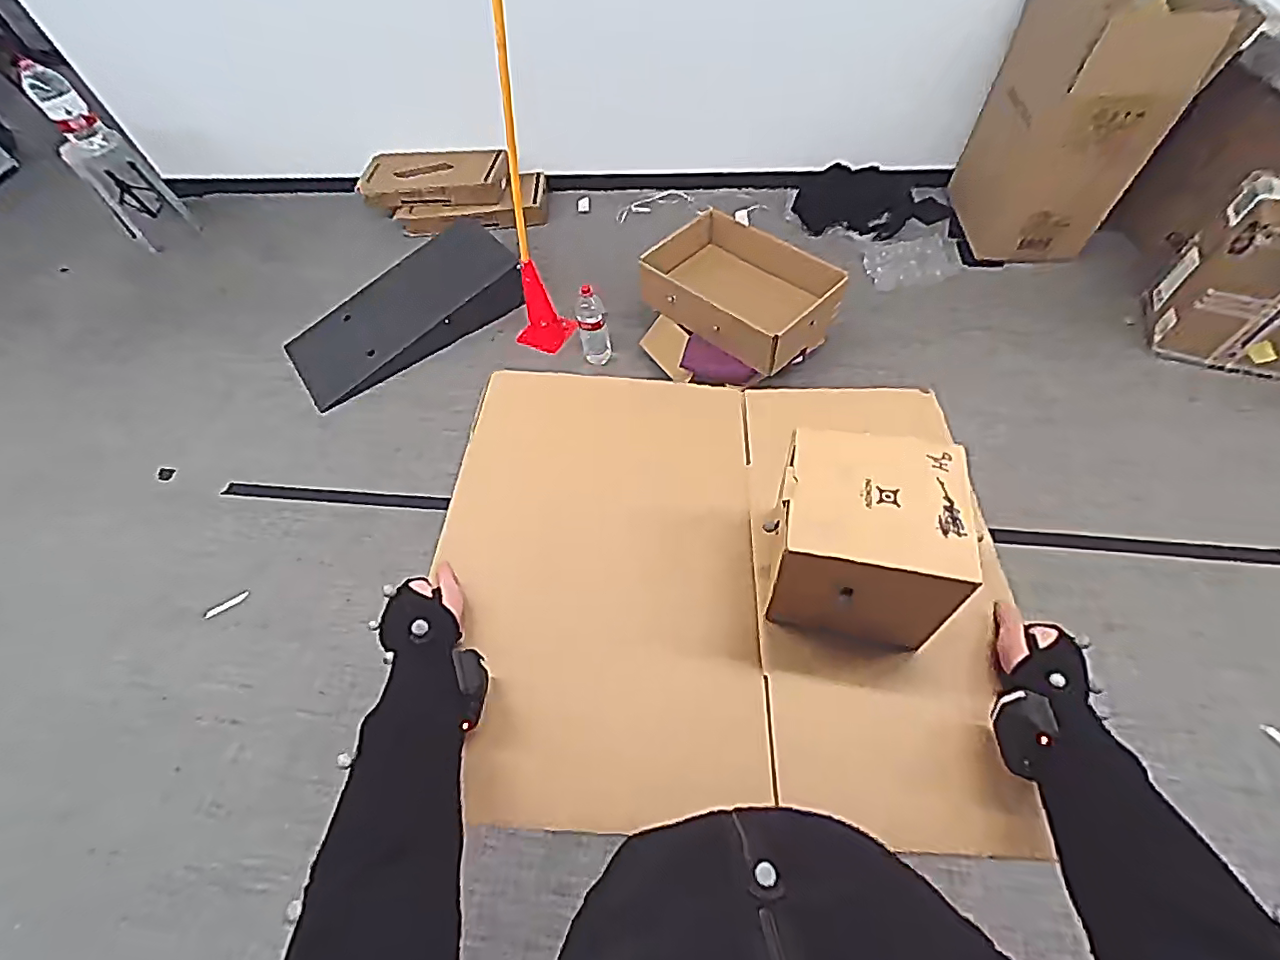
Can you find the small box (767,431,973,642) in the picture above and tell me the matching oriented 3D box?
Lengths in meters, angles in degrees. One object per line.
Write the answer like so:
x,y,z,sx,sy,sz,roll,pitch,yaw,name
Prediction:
0.244,0.067,0.614,0.179,0.176,0.168,8,55,12,small box
